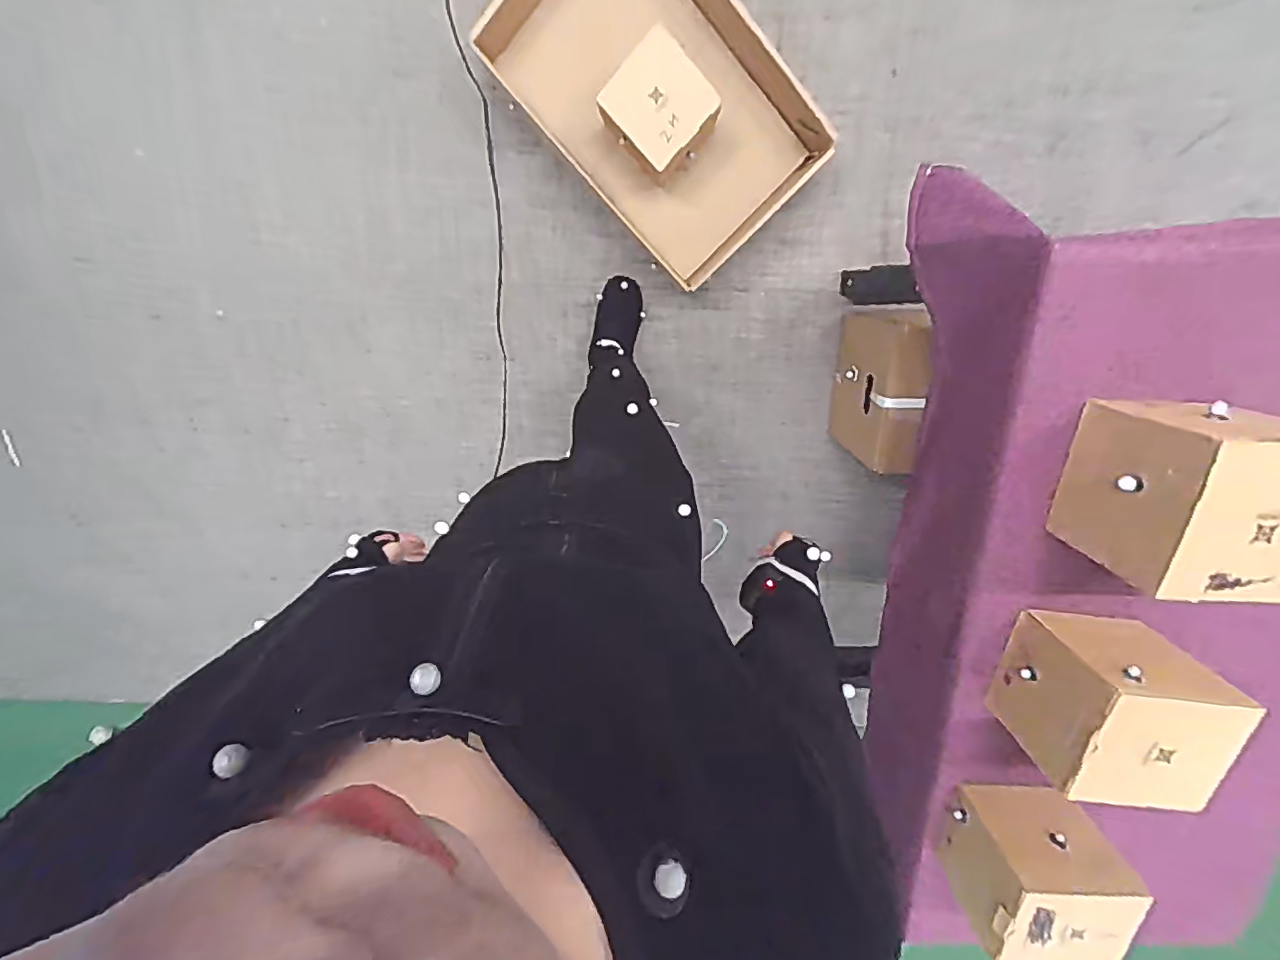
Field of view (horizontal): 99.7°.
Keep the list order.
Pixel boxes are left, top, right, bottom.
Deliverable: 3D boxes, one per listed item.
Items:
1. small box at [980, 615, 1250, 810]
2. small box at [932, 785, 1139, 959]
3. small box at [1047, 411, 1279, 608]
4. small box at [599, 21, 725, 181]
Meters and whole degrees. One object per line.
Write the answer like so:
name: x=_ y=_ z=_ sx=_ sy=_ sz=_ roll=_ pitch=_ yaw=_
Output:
small box: x=0.607 y=0.299 z=0.720 sx=0.179 sy=0.176 sz=0.168 roll=7 pitch=111 yaw=-1
small box: x=0.586 y=0.600 z=0.832 sx=0.179 sy=0.176 sz=0.168 roll=2 pitch=111 yaw=-1
small box: x=0.612 y=0.023 z=0.612 sx=0.168 sy=0.176 sz=0.179 roll=2 pitch=110 yaw=1
small box: x=0.042 y=-0.725 z=1.062 sx=0.168 sy=0.176 sz=0.179 roll=-42 pitch=104 yaw=16
